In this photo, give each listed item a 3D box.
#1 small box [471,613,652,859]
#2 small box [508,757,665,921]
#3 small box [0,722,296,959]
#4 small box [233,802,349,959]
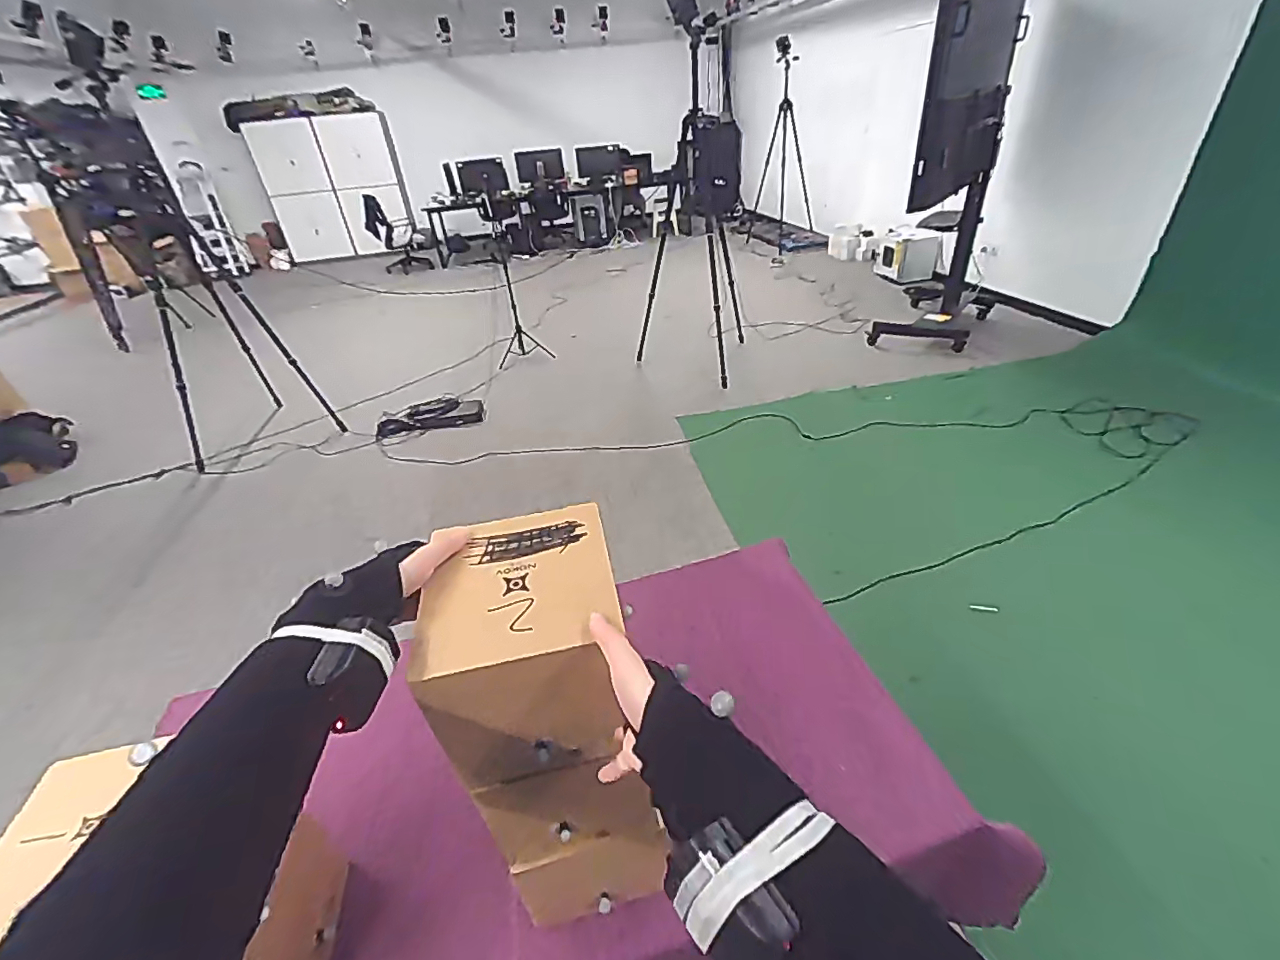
[{"bbox_3d":[-0.087,0.286,0.617,0.168,0.176,0.179,-11,36,-8],"label":"small box"},{"bbox_3d":[-0.070,0.425,0.700,0.179,0.176,0.168,-11,34,-9],"label":"small box"},{"bbox_3d":[-0.483,0.379,0.537,0.179,0.176,0.168,-12,35,-7],"label":"small box"},{"bbox_3d":[-0.474,0.516,0.626,0.179,0.176,0.168,-10,35,-8],"label":"small box"}]
